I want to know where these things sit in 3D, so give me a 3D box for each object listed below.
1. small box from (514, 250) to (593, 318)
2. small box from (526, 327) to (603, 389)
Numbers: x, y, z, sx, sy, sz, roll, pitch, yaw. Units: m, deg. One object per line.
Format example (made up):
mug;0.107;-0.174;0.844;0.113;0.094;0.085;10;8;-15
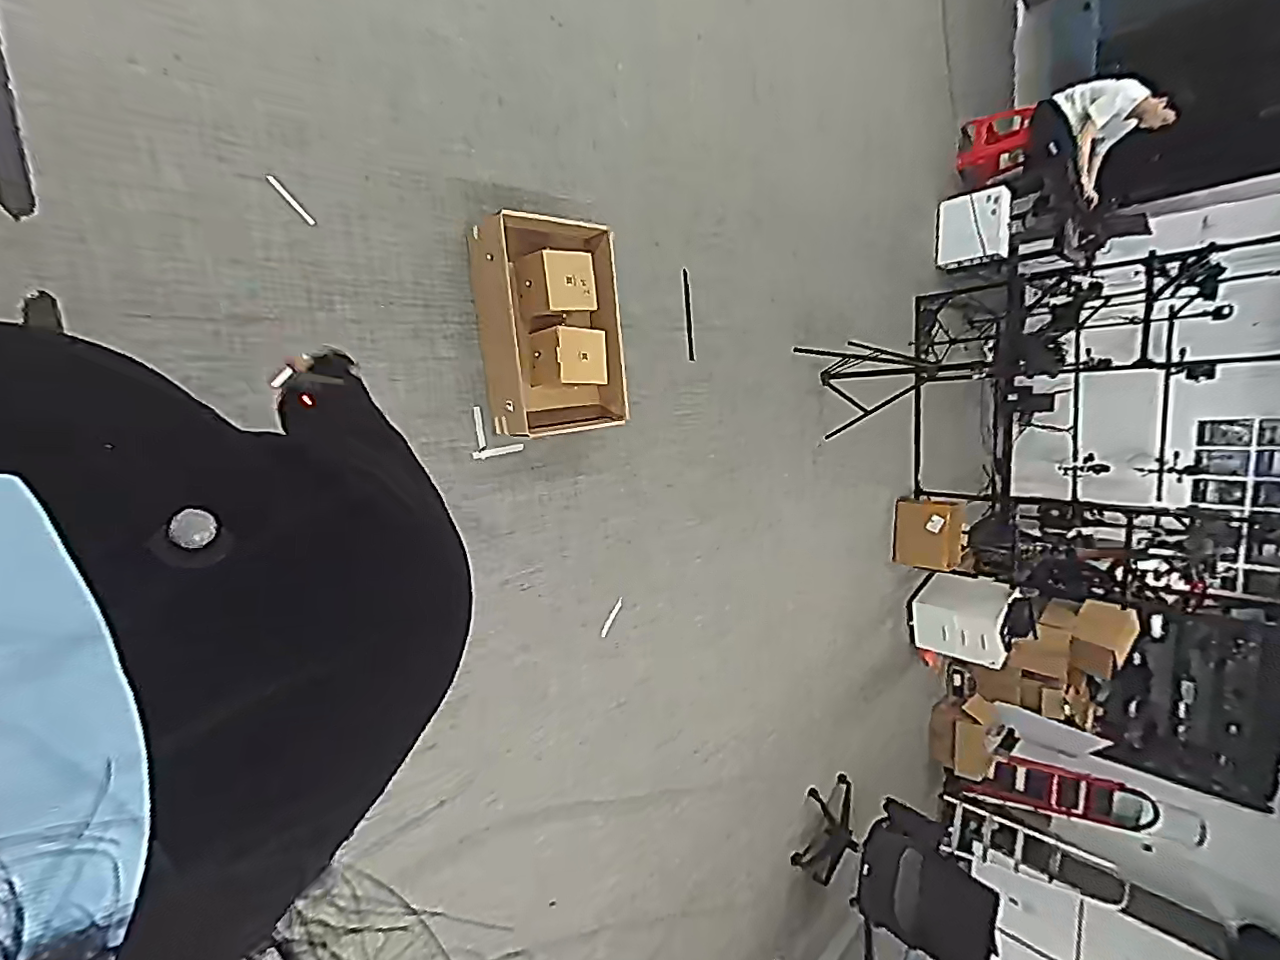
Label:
small box;-0.266;-0.584;1.629;0.179;0.176;0.168;-17;107;-42
small box;-0.235;-0.375;1.682;0.179;0.176;0.168;-7;98;-43
